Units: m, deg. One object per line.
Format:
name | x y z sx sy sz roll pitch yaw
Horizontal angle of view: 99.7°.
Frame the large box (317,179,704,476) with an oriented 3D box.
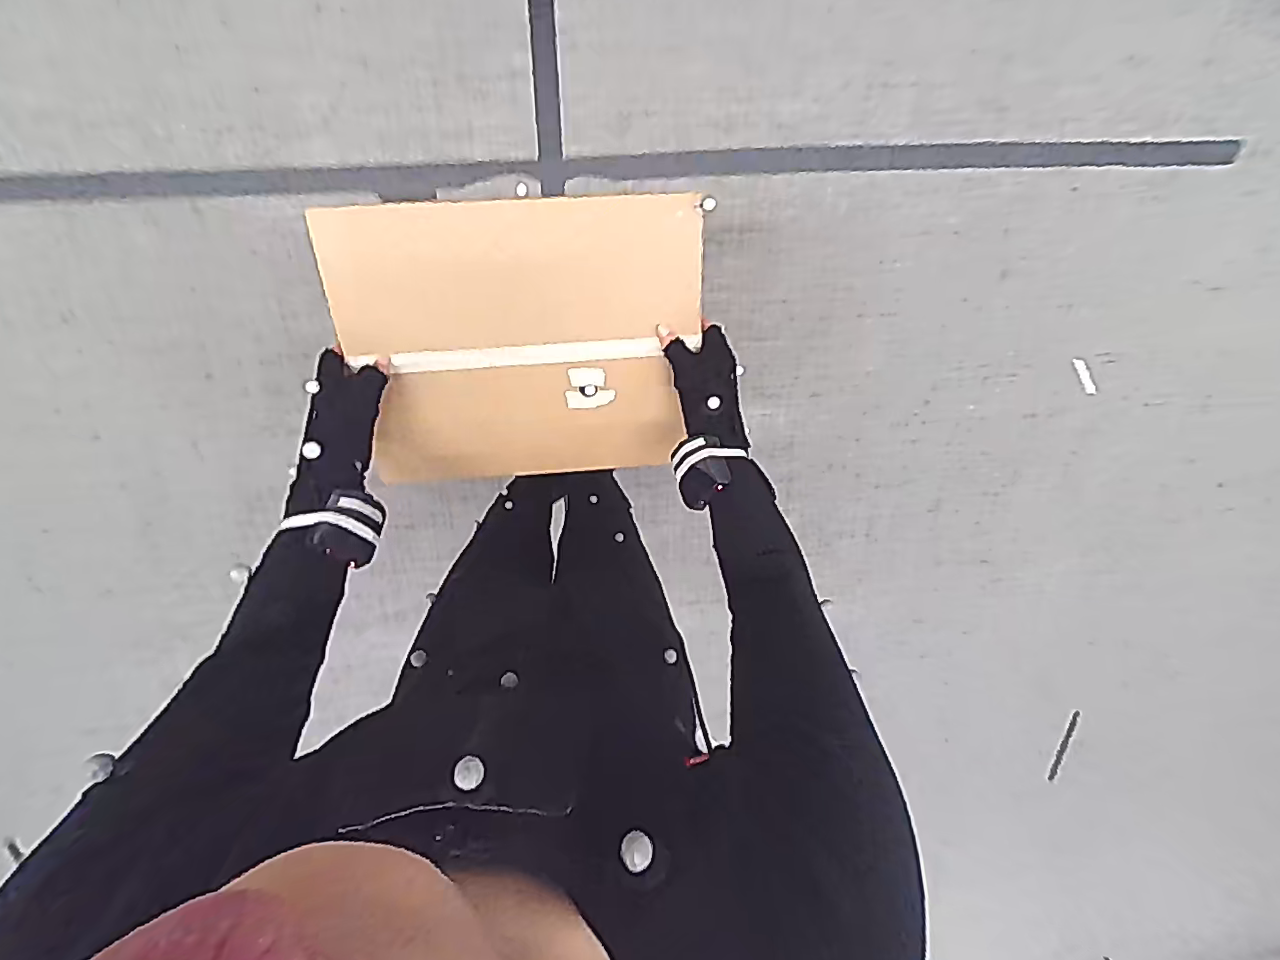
large box | -0.139 -0.226 0.754 0.408 0.320 0.320 -5 118 -4
